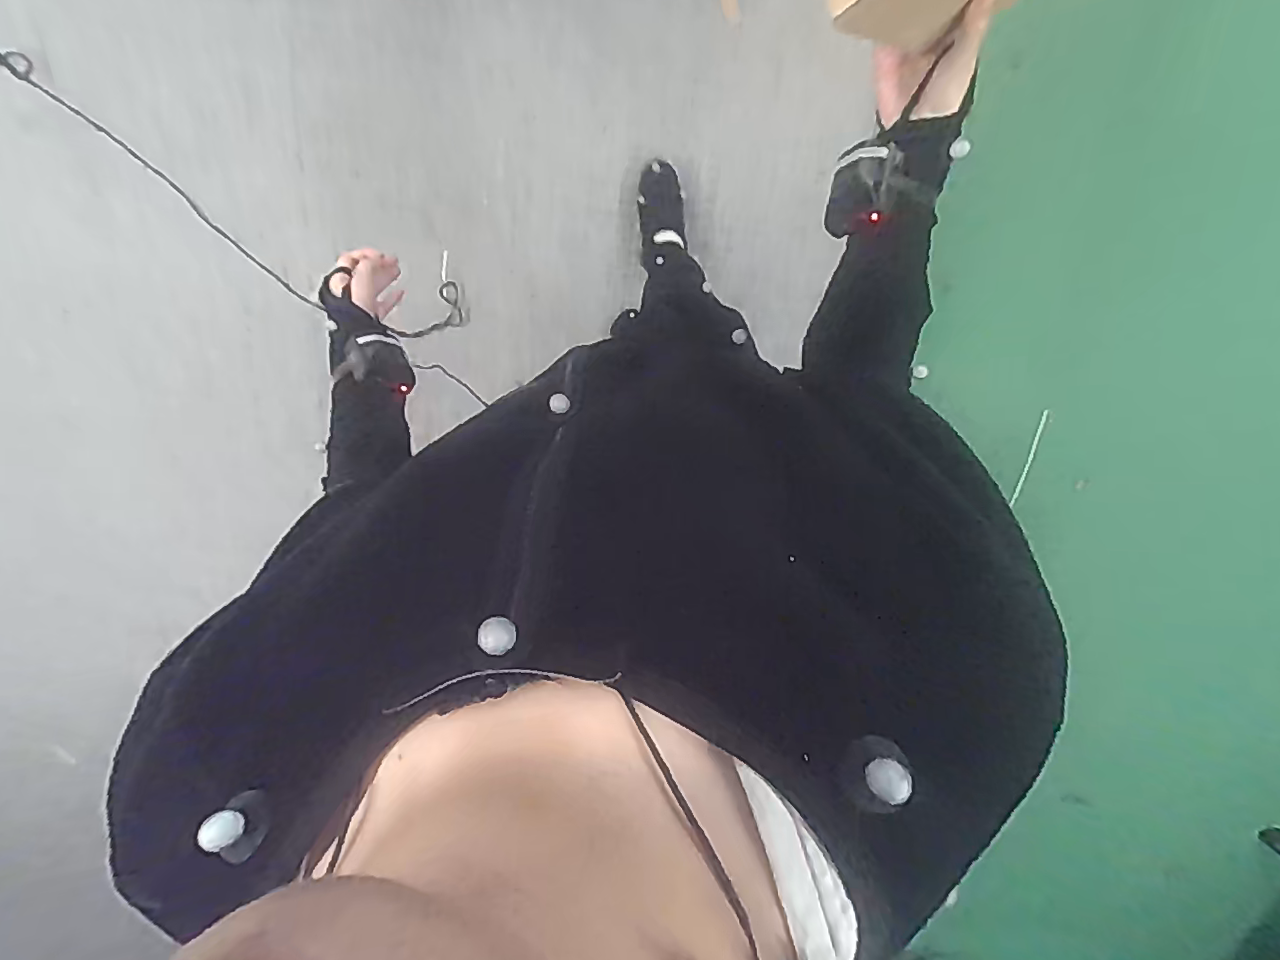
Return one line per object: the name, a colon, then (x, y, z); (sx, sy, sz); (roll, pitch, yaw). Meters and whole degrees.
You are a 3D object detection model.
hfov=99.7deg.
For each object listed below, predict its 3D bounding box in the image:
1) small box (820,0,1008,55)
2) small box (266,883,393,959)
small box: (0.196, -0.398, 0.304); (0.168, 0.179, 0.176); (-26, 100, -38)
small box: (-0.657, 1.002, 1.155); (0.179, 0.176, 0.168); (-1, 110, -3)
